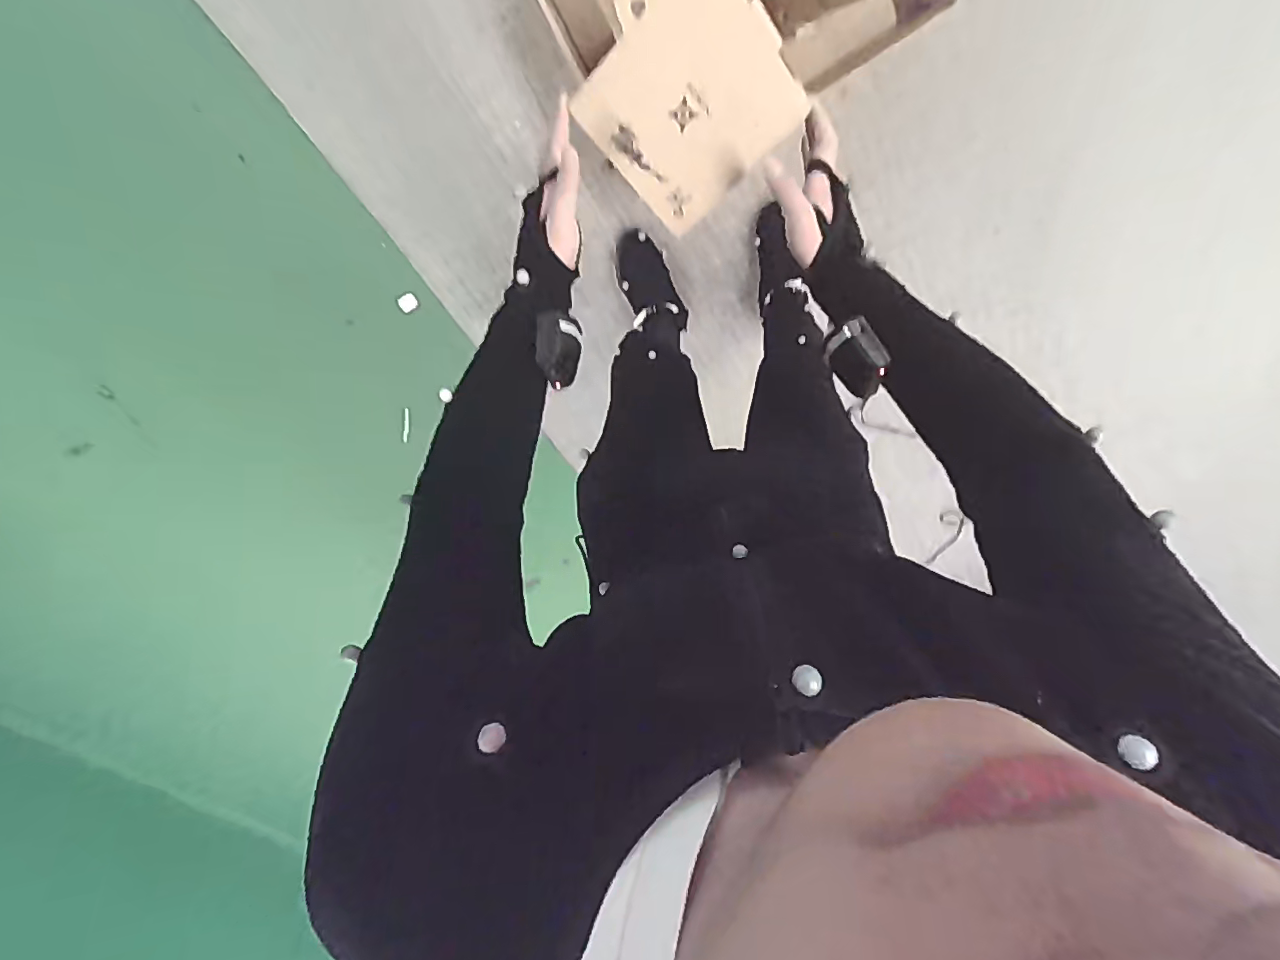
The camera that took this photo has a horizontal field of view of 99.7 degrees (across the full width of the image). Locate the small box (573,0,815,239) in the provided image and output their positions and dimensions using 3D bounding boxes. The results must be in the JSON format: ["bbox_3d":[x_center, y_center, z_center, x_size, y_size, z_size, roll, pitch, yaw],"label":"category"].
[{"bbox_3d":[0.049,-0.399,0.574,0.179,0.176,0.168,-37,119,24],"label":"small box"}]

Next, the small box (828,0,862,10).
[{"bbox_3d":[0.305,-0.700,0.634,0.179,0.176,0.168,-24,122,16],"label":"small box"}]
